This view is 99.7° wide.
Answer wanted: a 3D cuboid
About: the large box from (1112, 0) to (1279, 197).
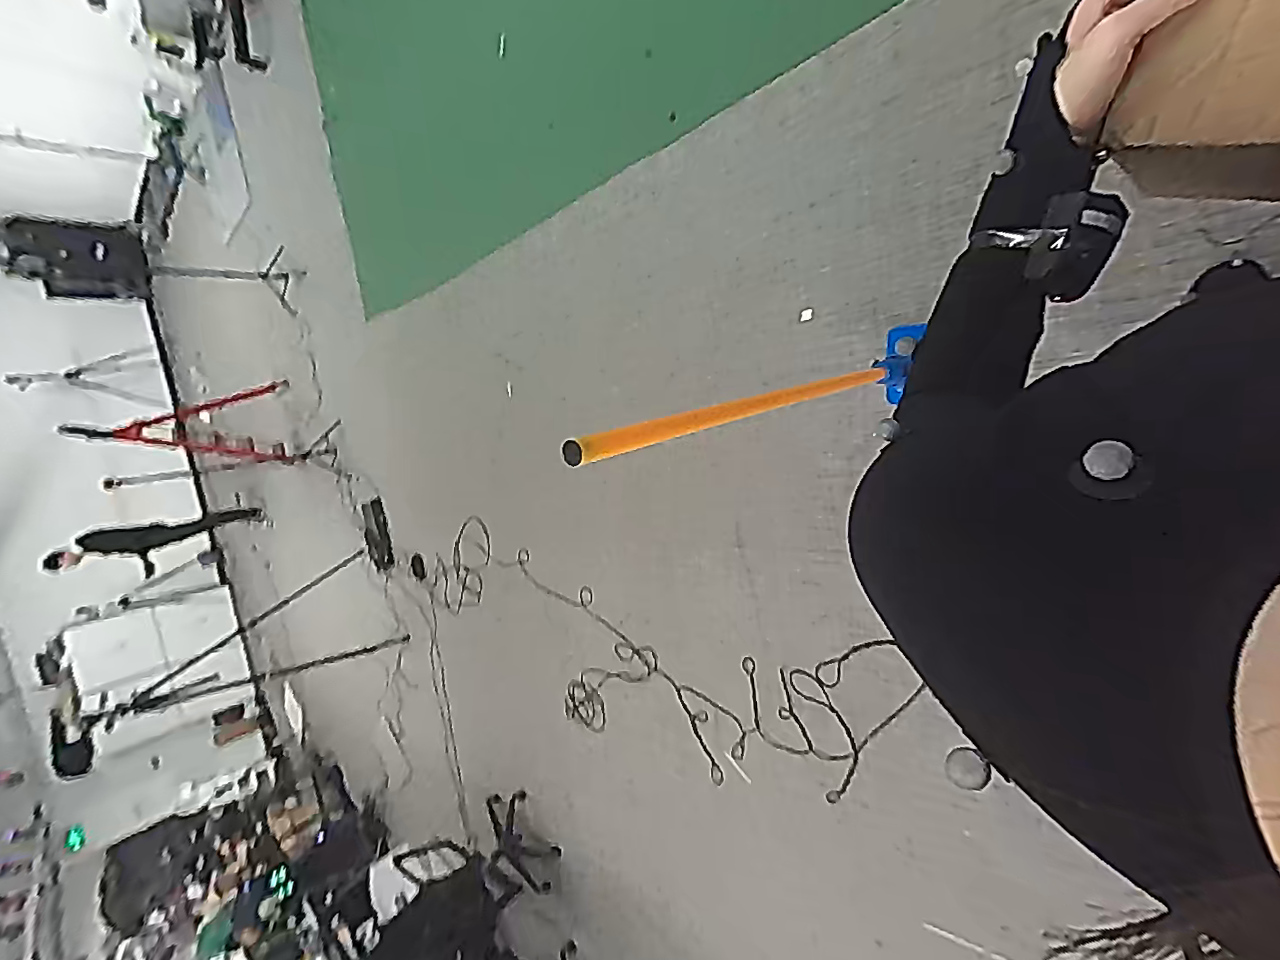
[{"bbox_3d":[0.583,-0.351,0.301,0.408,0.320,0.320,25,121,38],"label":"large box"}]
